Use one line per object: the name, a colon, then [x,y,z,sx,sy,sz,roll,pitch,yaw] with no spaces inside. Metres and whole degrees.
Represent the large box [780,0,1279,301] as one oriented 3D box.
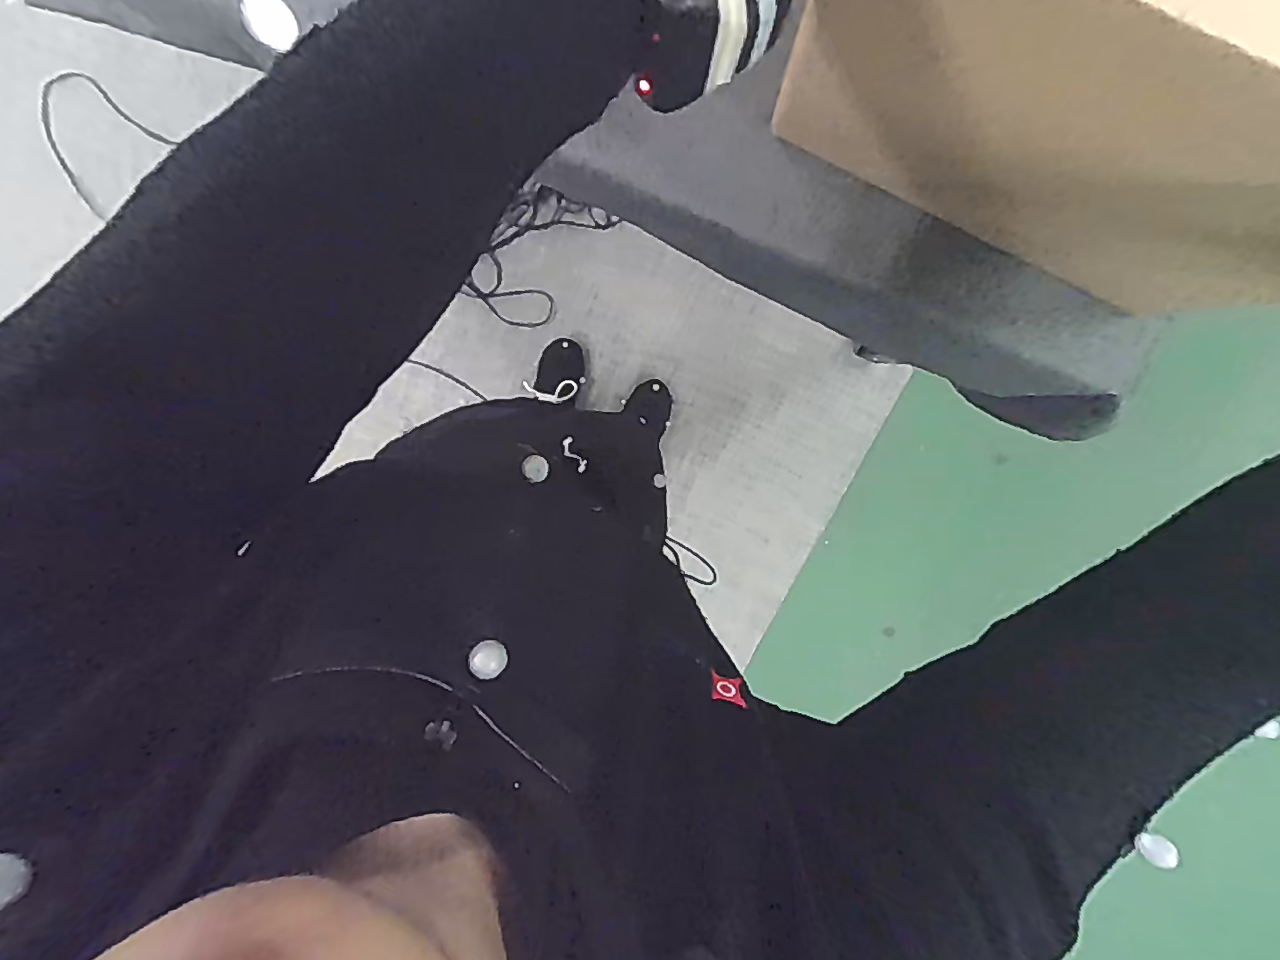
large box: [0.356,-0.349,0.338,0.408,0.320,0.320,25,106,-2]
